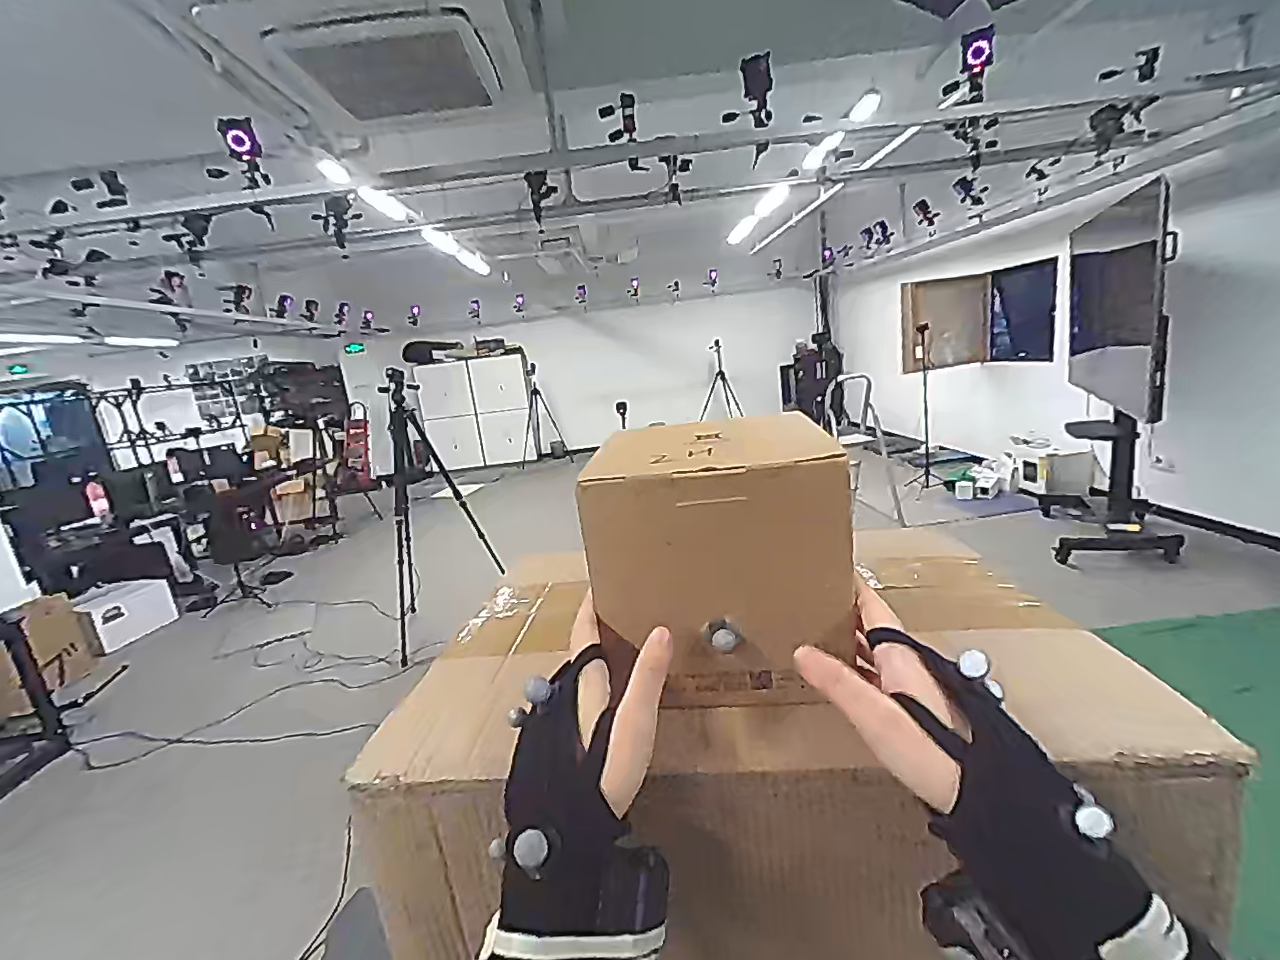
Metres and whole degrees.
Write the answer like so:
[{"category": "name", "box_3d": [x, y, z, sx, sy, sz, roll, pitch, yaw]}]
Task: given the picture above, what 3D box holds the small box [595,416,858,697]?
[{"category": "small box", "box_3d": [0.068, 0.049, 0.435, 0.168, 0.176, 0.179, -5, 15, 8]}]
